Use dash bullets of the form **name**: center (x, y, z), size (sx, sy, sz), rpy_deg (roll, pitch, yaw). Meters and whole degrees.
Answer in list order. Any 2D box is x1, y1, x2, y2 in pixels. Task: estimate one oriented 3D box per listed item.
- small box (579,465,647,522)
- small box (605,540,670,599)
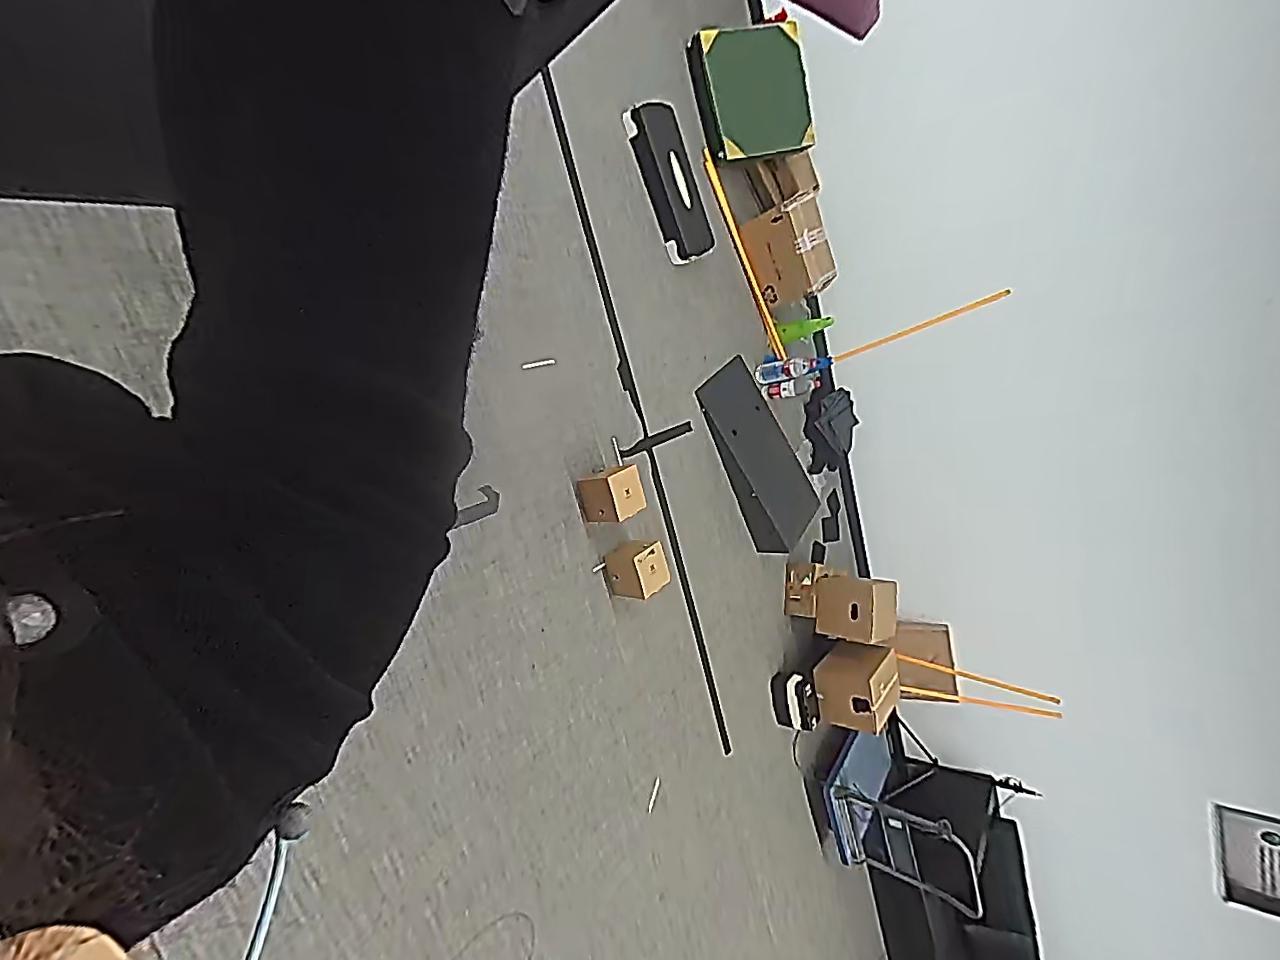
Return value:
- **small box**: center (-0.104, 0.050, 2.048), size (0.168, 0.176, 0.179), rpy_deg (-27, 107, -45)
- **small box**: center (-0.010, 0.346, 2.127), size (0.168, 0.176, 0.179), rpy_deg (-27, 108, -45)
